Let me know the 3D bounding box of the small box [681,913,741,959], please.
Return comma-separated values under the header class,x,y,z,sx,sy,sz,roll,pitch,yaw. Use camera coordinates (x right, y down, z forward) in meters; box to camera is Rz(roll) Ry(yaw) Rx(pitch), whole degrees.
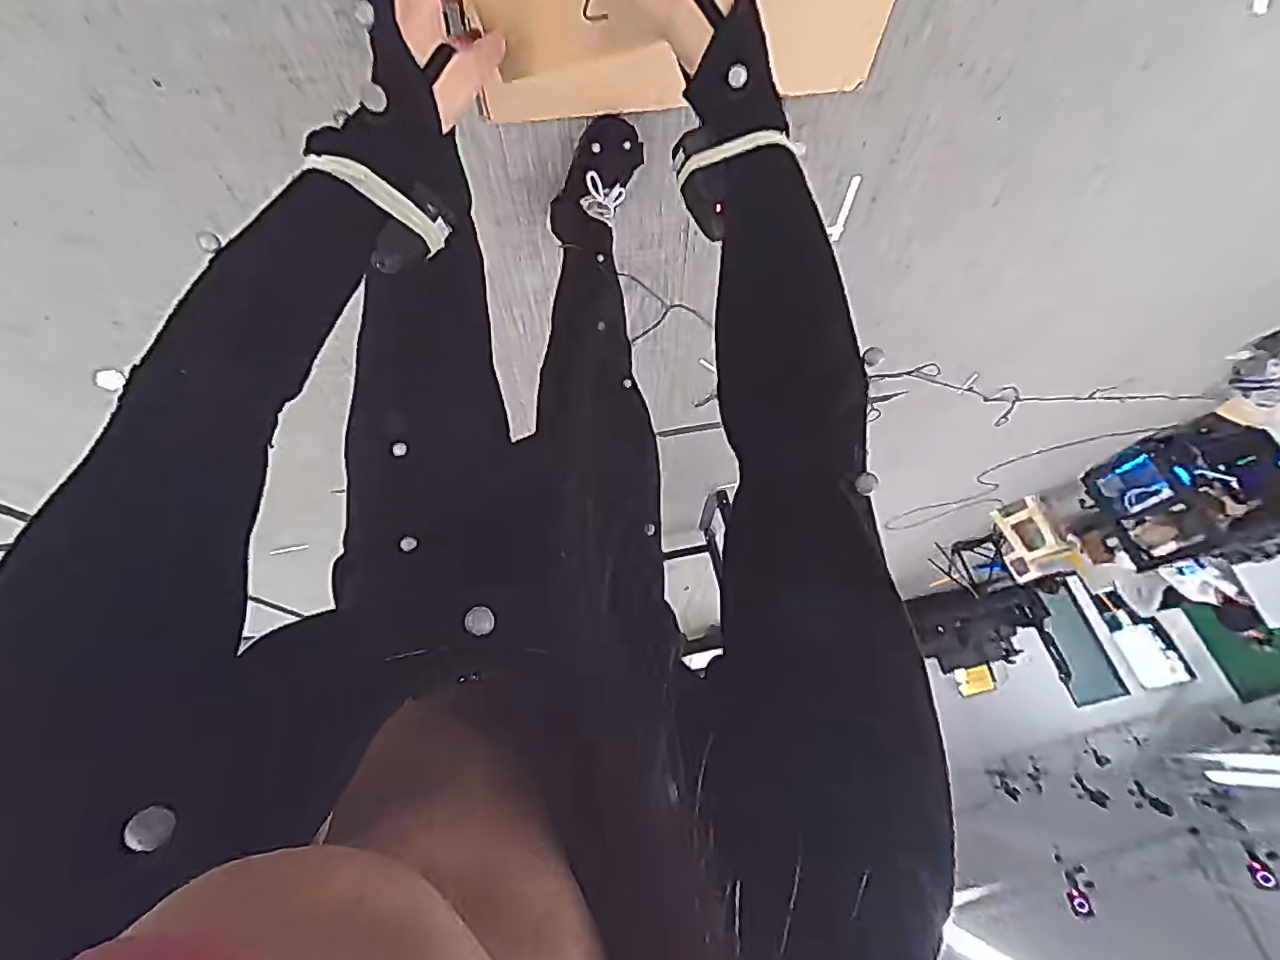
class,x,y,z,sx,sy,sz,roll,pitch,yaw
small box,0.260,1.706,2.014,0.168,0.176,0.179,-8,156,-10
